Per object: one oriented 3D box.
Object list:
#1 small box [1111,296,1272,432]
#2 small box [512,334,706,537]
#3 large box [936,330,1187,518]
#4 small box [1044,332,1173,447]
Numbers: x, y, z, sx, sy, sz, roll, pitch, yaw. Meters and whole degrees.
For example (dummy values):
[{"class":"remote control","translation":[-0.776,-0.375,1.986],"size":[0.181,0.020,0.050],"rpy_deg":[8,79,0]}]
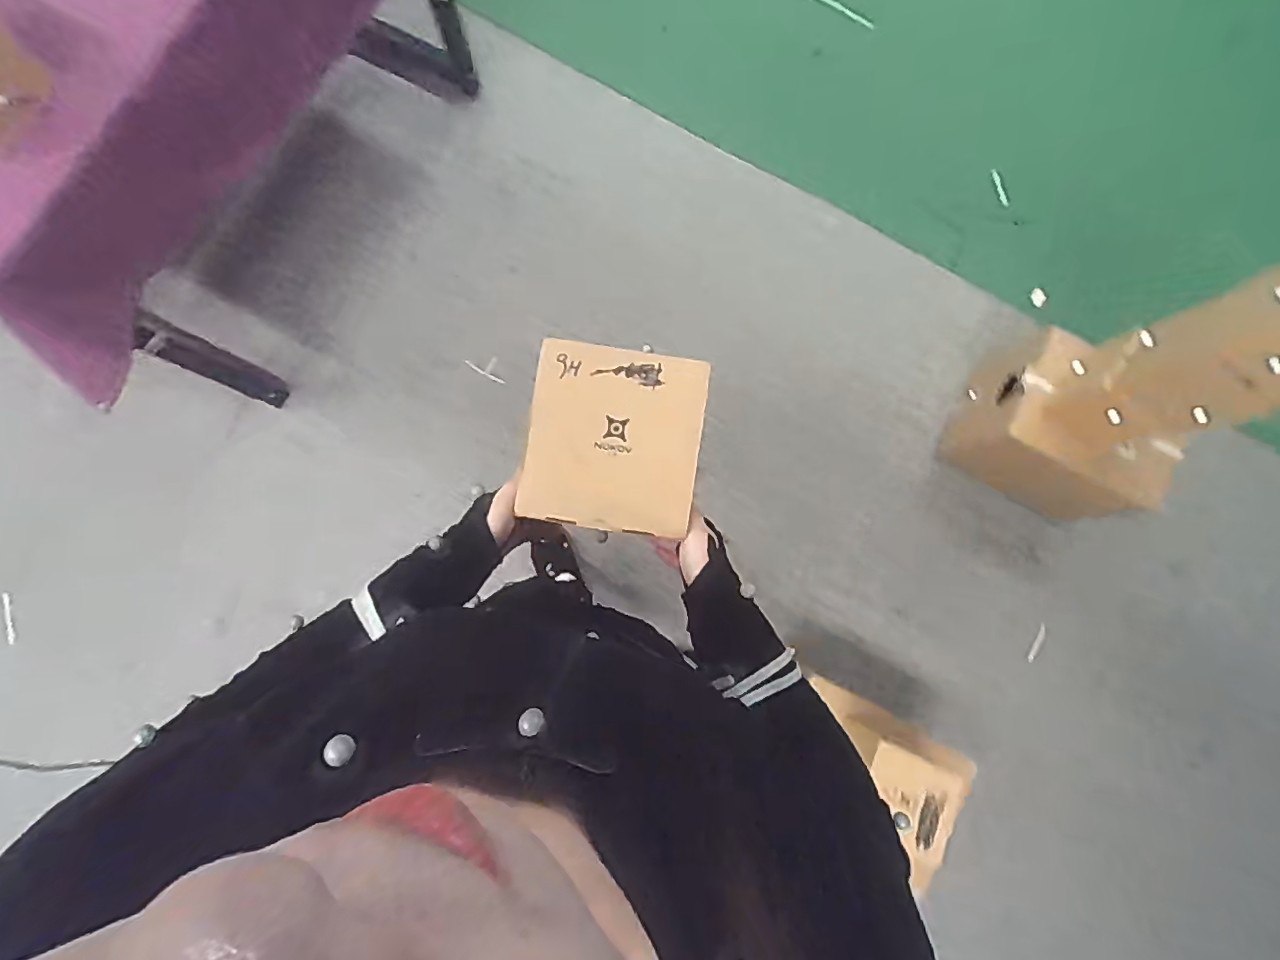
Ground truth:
[{"class":"small box","translation":[1.095,-0.212,1.053],"size":[0.179,0.176,0.168],"rpy_deg":[43,82,4]},{"class":"small box","translation":[-0.030,-0.040,0.596],"size":[0.168,0.176,0.179],"rpy_deg":[9,87,-1]},{"class":"large box","translation":[1.108,-0.129,1.452],"size":[0.408,0.320,0.320],"rpy_deg":[29,82,0]},{"class":"small box","translation":[1.077,-0.191,1.214],"size":[0.179,0.176,0.168],"rpy_deg":[40,82,3]}]
